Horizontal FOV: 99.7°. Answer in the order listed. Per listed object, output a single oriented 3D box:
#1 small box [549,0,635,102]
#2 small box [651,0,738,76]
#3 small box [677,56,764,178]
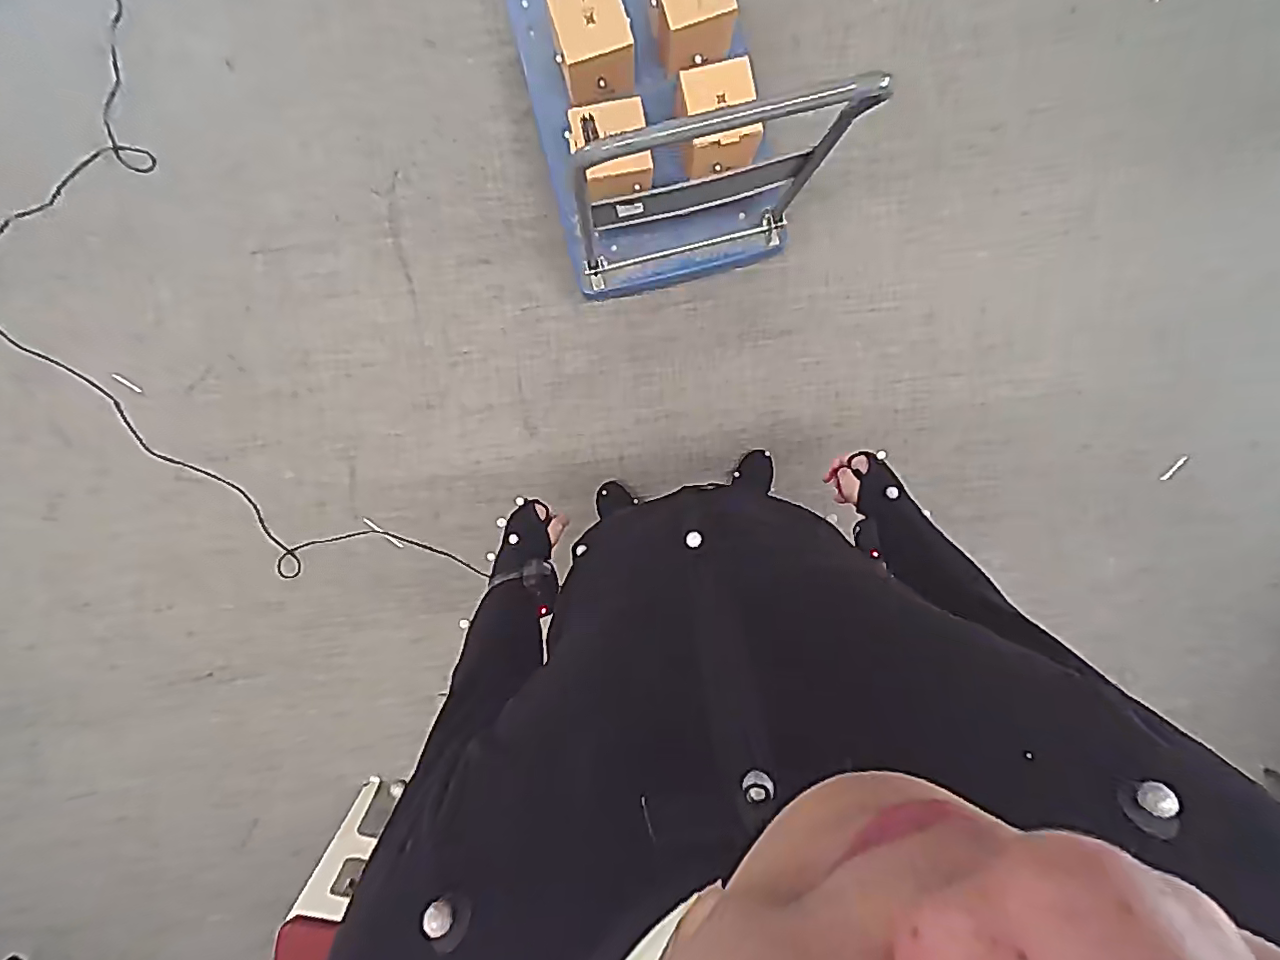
[{"bbox_3d":[-0.113,-1.077,1.334,0.168,0.176,0.179,-18,93,0],"label":"small box"},{"bbox_3d":[0.127,-1.155,1.329,0.168,0.176,0.179,-17,94,2],"label":"small box"},{"bbox_3d":[0.193,-0.893,1.345,0.168,0.176,0.179,-13,93,1],"label":"small box"}]
